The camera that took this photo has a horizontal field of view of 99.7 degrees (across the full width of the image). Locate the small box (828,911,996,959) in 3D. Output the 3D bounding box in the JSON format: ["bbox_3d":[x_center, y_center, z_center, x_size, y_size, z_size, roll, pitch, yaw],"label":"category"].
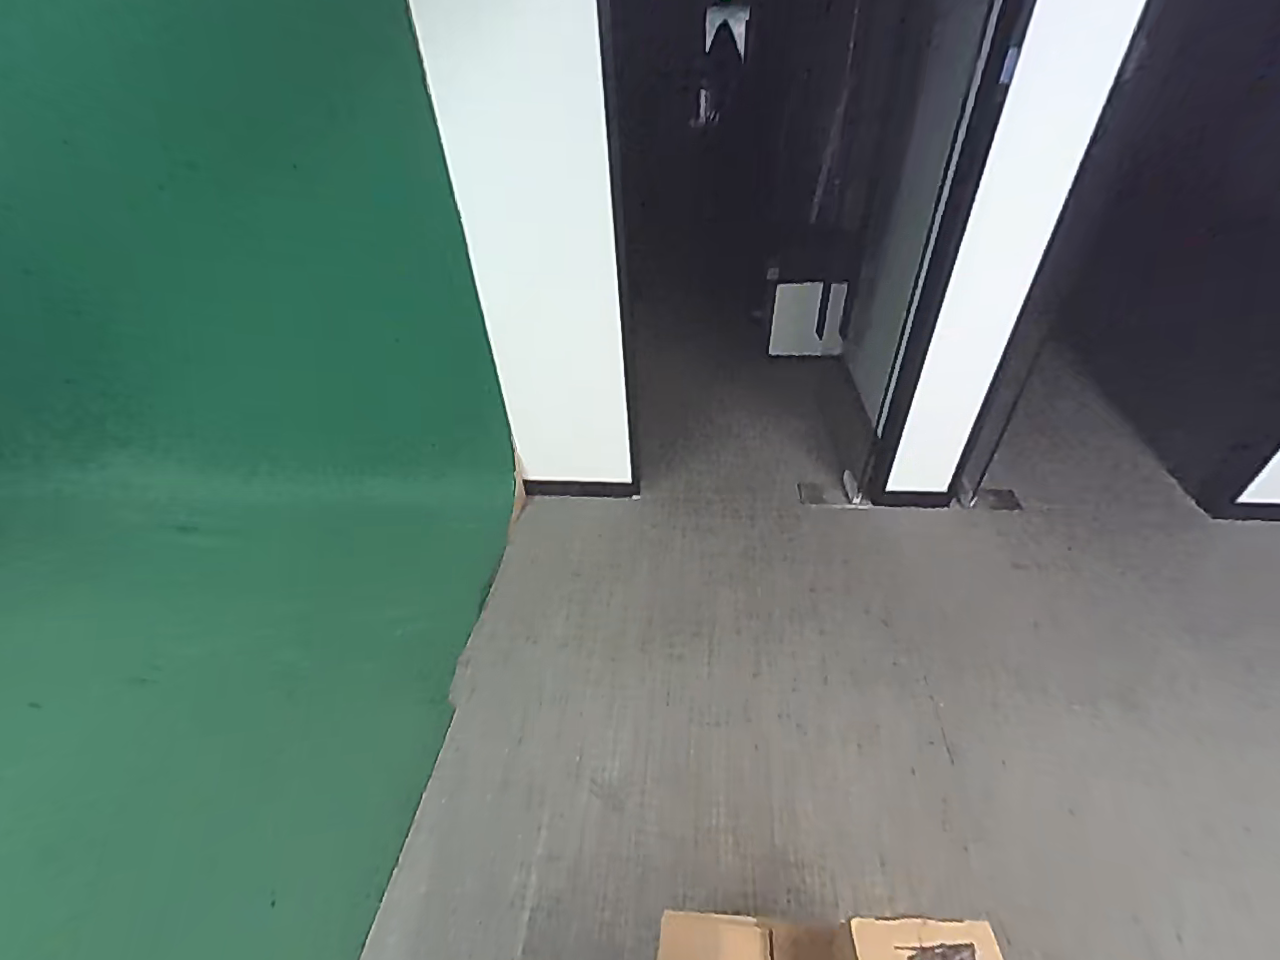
[{"bbox_3d":[0.335,0.650,0.648,0.168,0.176,0.179,-2,40,5],"label":"small box"}]
